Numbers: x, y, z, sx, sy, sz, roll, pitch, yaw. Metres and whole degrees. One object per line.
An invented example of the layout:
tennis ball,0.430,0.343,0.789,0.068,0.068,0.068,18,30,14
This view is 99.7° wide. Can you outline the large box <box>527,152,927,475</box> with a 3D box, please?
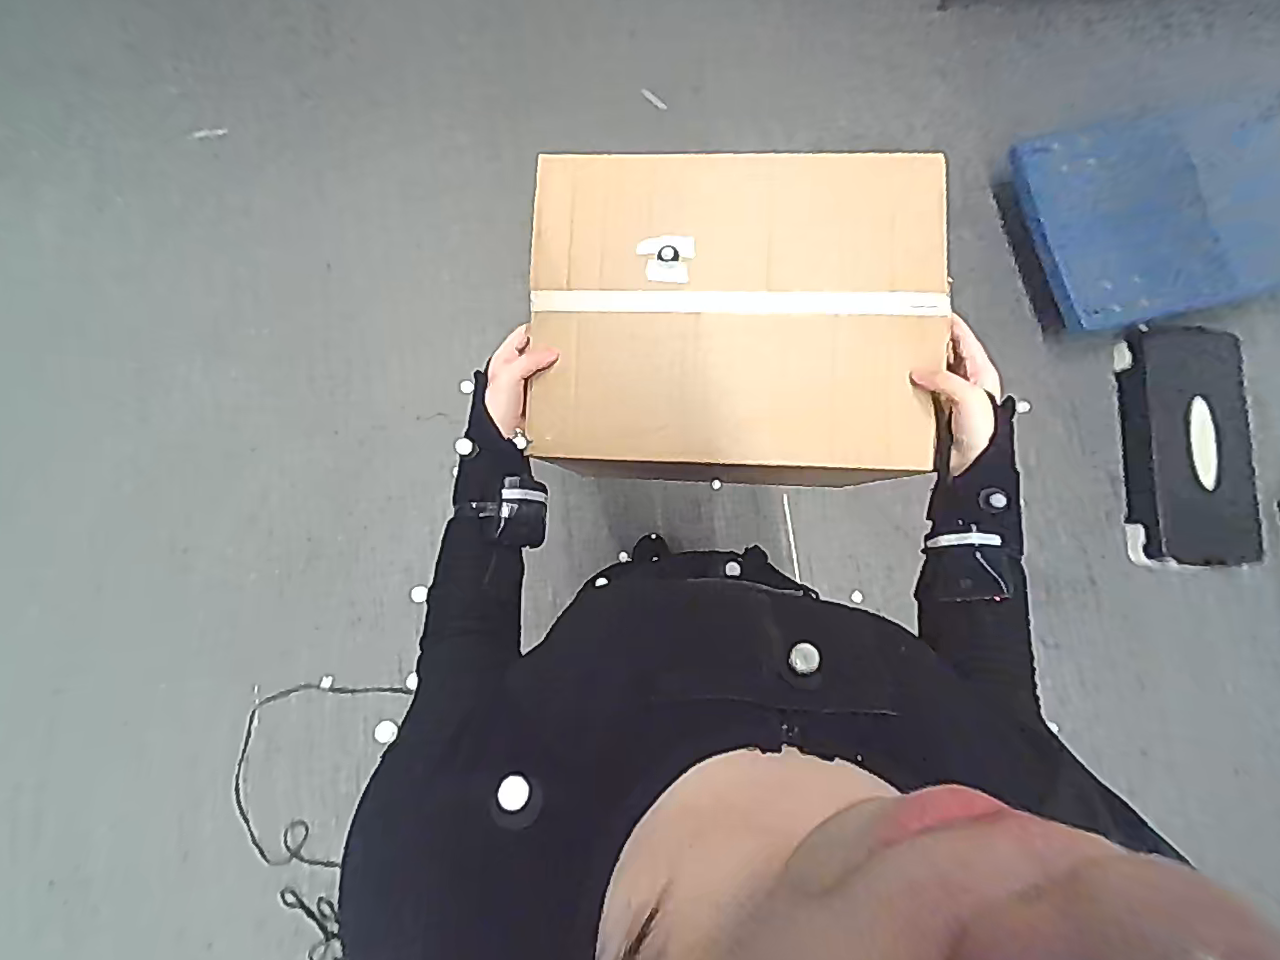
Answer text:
large box,0.096,-0.166,0.694,0.408,0.320,0.320,1,86,5
